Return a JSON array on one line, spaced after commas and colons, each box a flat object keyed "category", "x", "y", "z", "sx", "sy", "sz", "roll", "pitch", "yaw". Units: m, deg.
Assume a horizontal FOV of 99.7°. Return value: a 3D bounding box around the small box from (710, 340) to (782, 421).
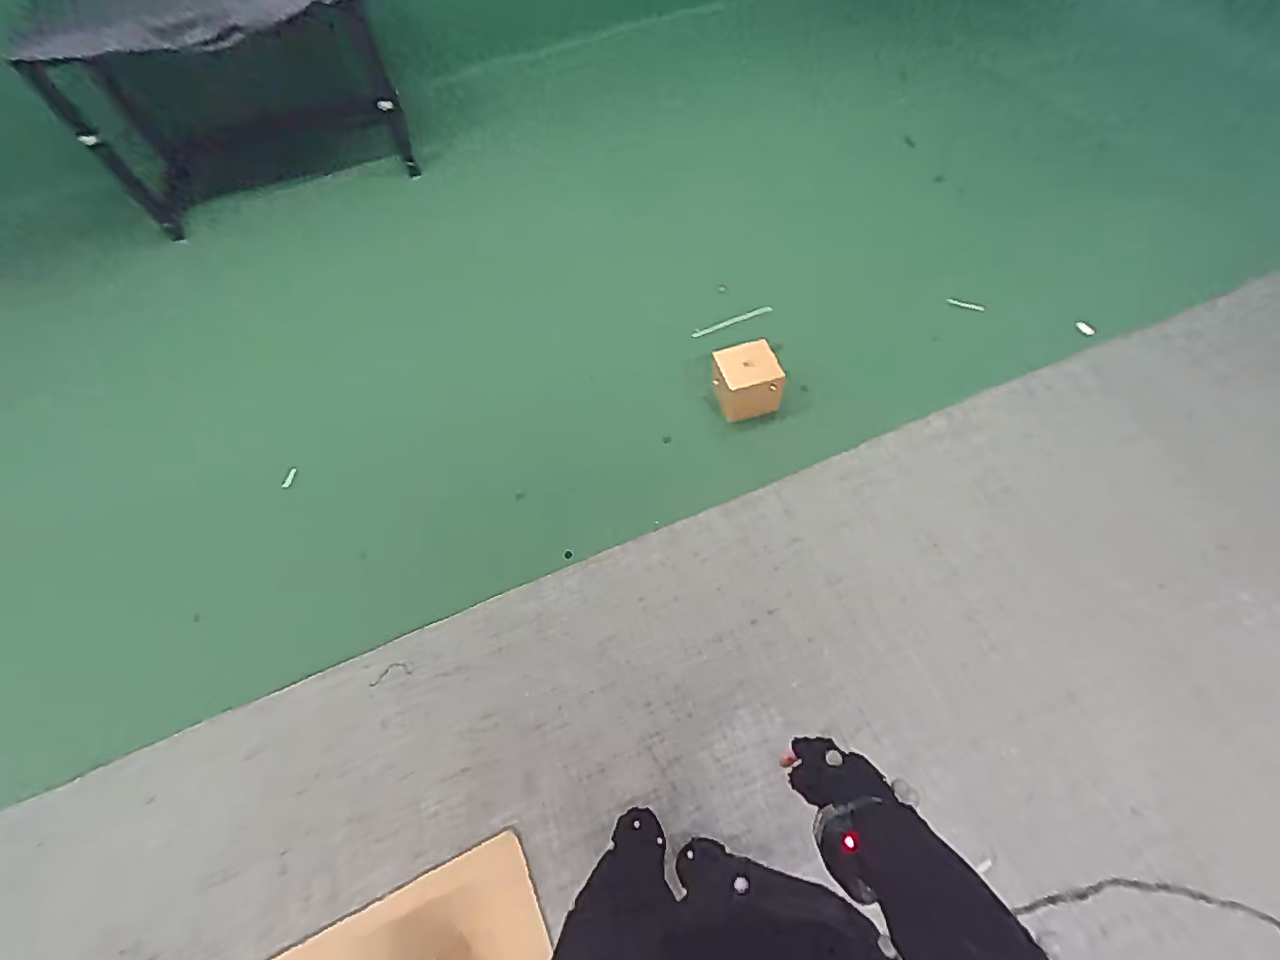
[{"category": "small box", "x": 0.332, "y": -0.312, "z": 1.725, "sx": 0.179, "sy": 0.176, "sz": 0.168, "roll": -16, "pitch": 59, "yaw": -4}]
